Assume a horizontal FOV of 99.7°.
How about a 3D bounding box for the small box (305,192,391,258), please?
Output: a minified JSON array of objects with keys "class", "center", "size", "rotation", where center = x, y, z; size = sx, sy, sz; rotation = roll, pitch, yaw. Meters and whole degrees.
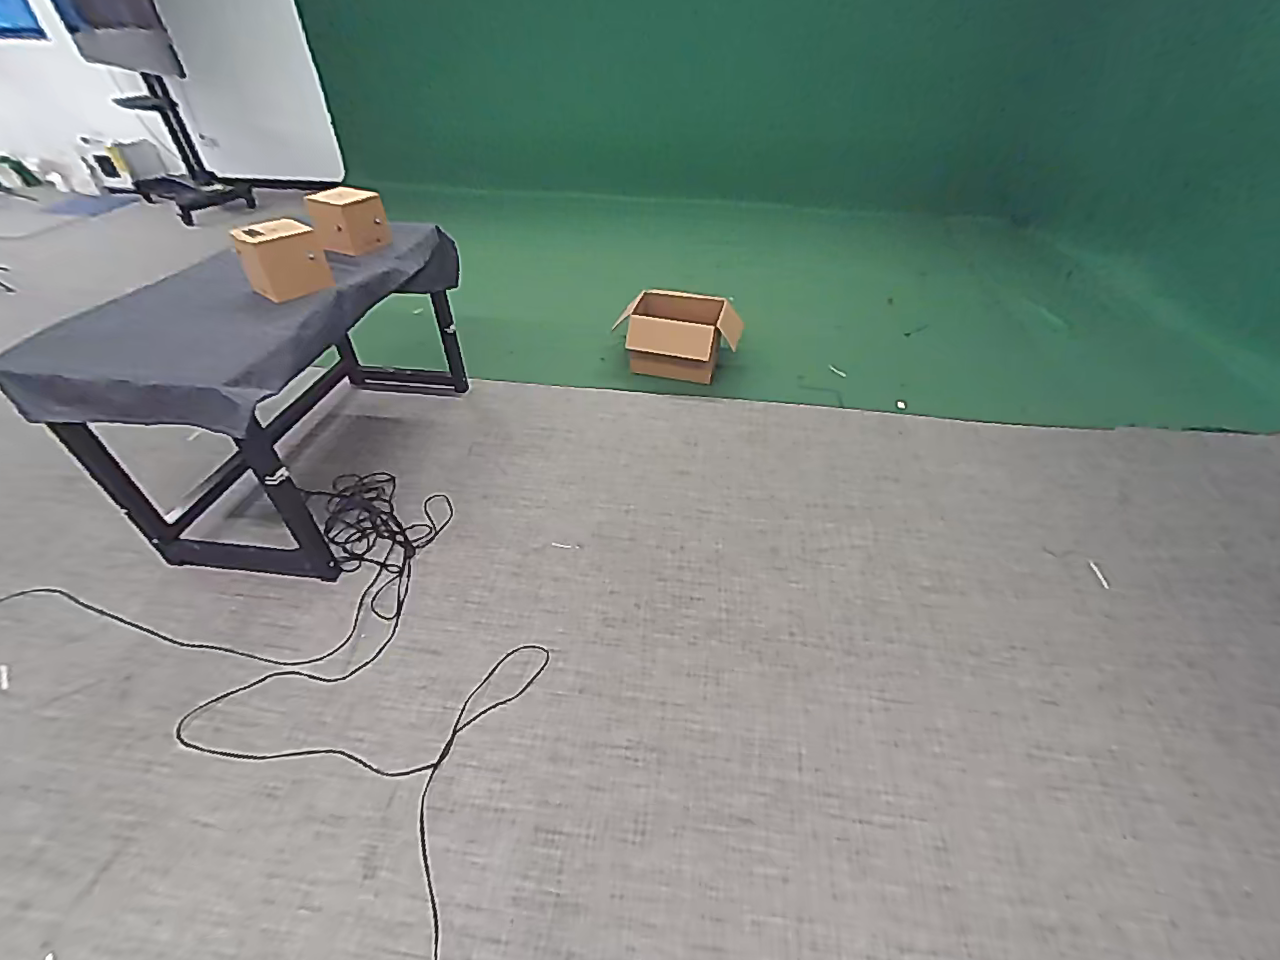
[{"class":"small box","center":[-1.002,-0.882,1.873],"size":[0.179,0.176,0.168],"rotation":[17,43,20]}]
